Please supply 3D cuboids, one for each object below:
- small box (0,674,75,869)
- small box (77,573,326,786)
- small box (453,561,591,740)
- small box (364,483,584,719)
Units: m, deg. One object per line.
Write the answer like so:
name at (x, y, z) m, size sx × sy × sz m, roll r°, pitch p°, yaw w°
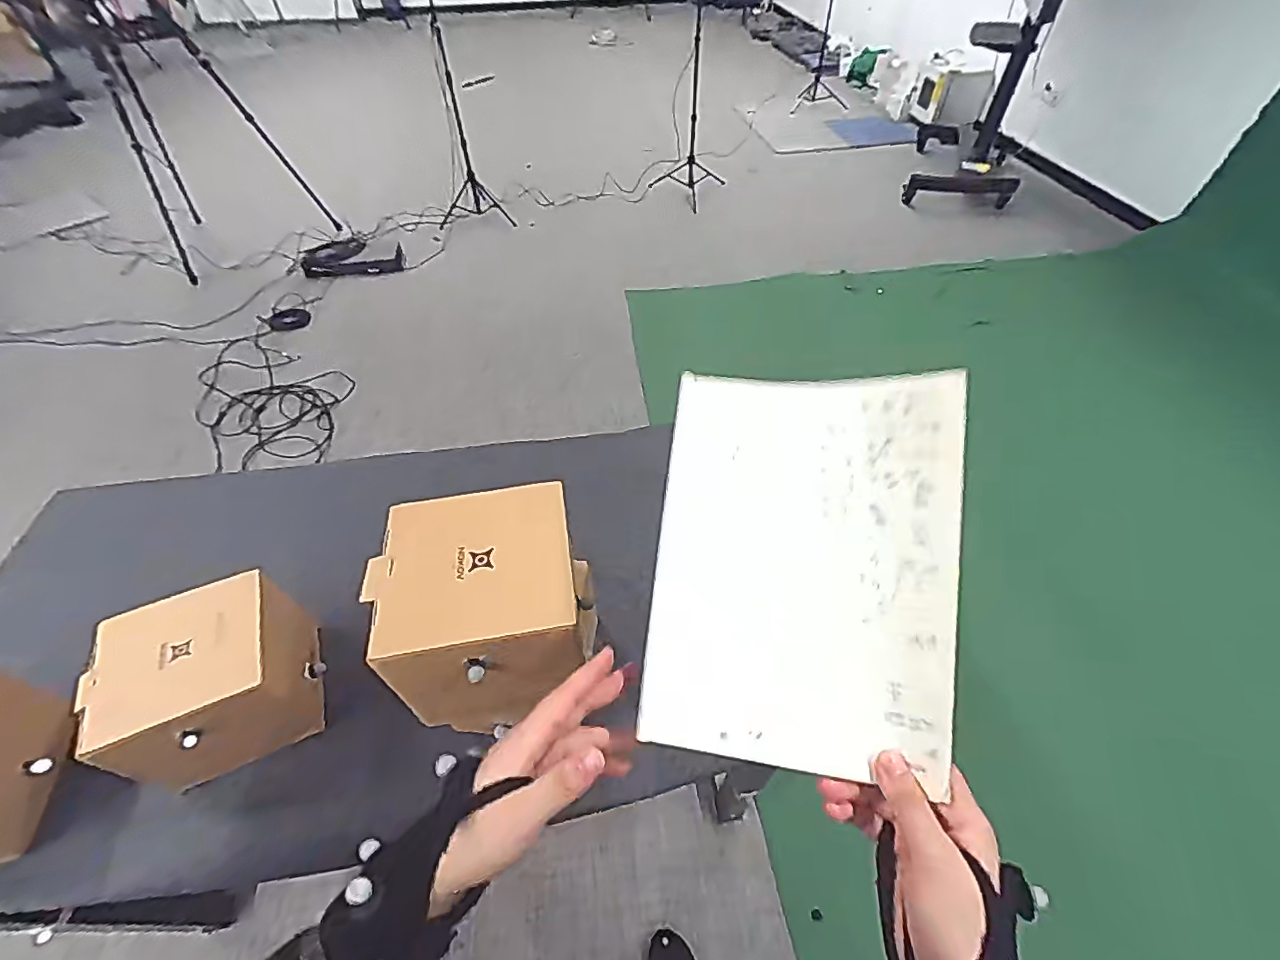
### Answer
small box at (-0.811, 0.340, 0.607) m, size 0.168 × 0.176 × 0.179 m, roll -12°, pitch 51°, yaw -10°
small box at (-0.529, 0.253, 0.680) m, size 0.179 × 0.176 × 0.168 m, roll -20°, pitch 52°, yaw -17°
small box at (-0.160, 0.216, 0.703) m, size 0.168 × 0.176 × 0.179 m, roll 3°, pitch 50°, yaw 5°
small box at (-0.155, 0.128, 0.564) m, size 0.179 × 0.176 × 0.168 m, roll -9°, pitch 49°, yaw -6°
